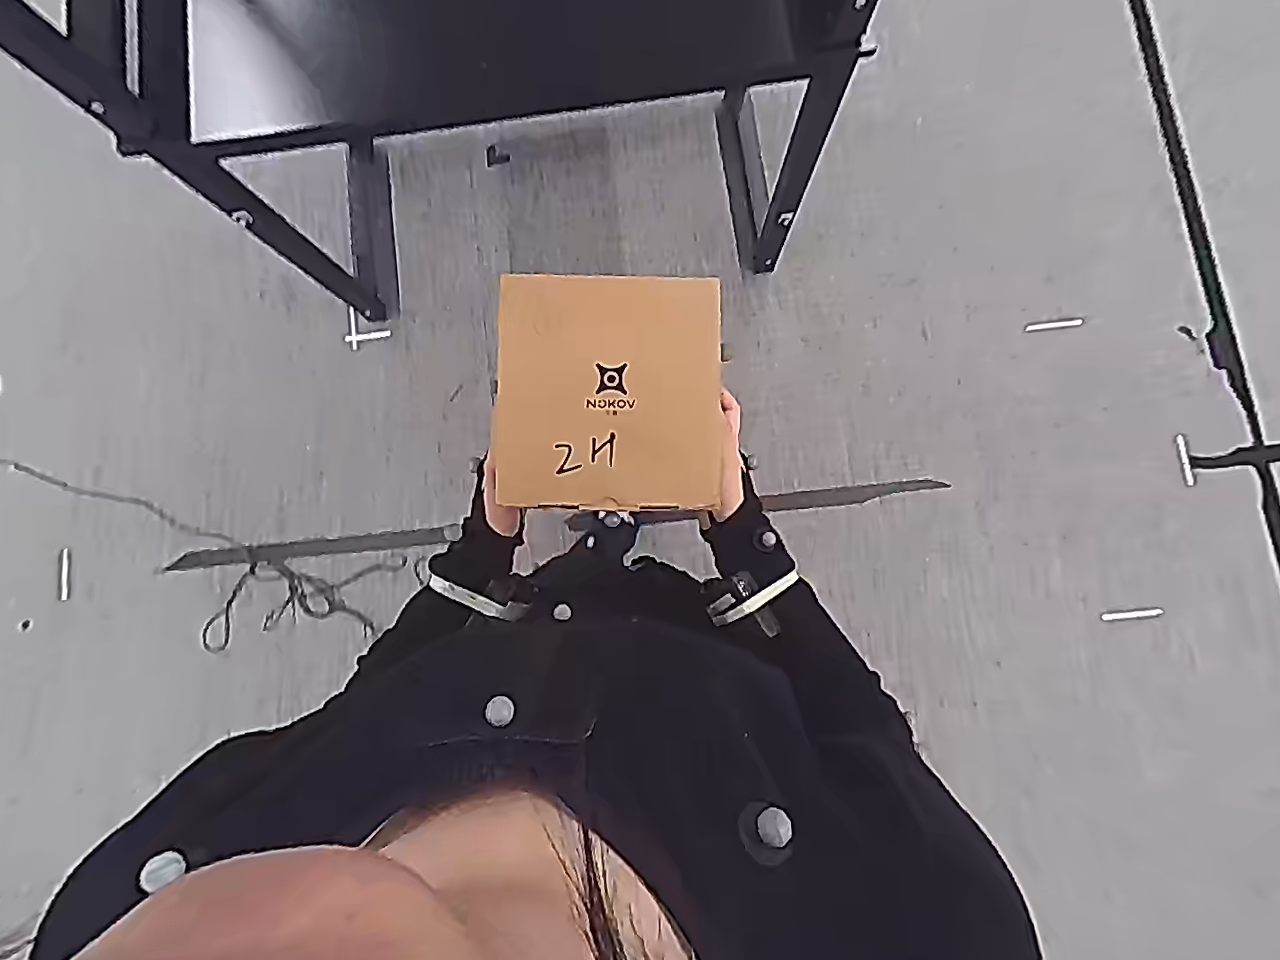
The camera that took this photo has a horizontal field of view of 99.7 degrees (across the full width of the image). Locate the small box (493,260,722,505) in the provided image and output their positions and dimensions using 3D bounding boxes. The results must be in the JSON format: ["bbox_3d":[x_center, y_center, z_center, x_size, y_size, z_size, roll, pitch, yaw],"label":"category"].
[{"bbox_3d":[-0.024,-0.069,0.476,0.168,0.176,0.179,1,87,-1],"label":"small box"}]
